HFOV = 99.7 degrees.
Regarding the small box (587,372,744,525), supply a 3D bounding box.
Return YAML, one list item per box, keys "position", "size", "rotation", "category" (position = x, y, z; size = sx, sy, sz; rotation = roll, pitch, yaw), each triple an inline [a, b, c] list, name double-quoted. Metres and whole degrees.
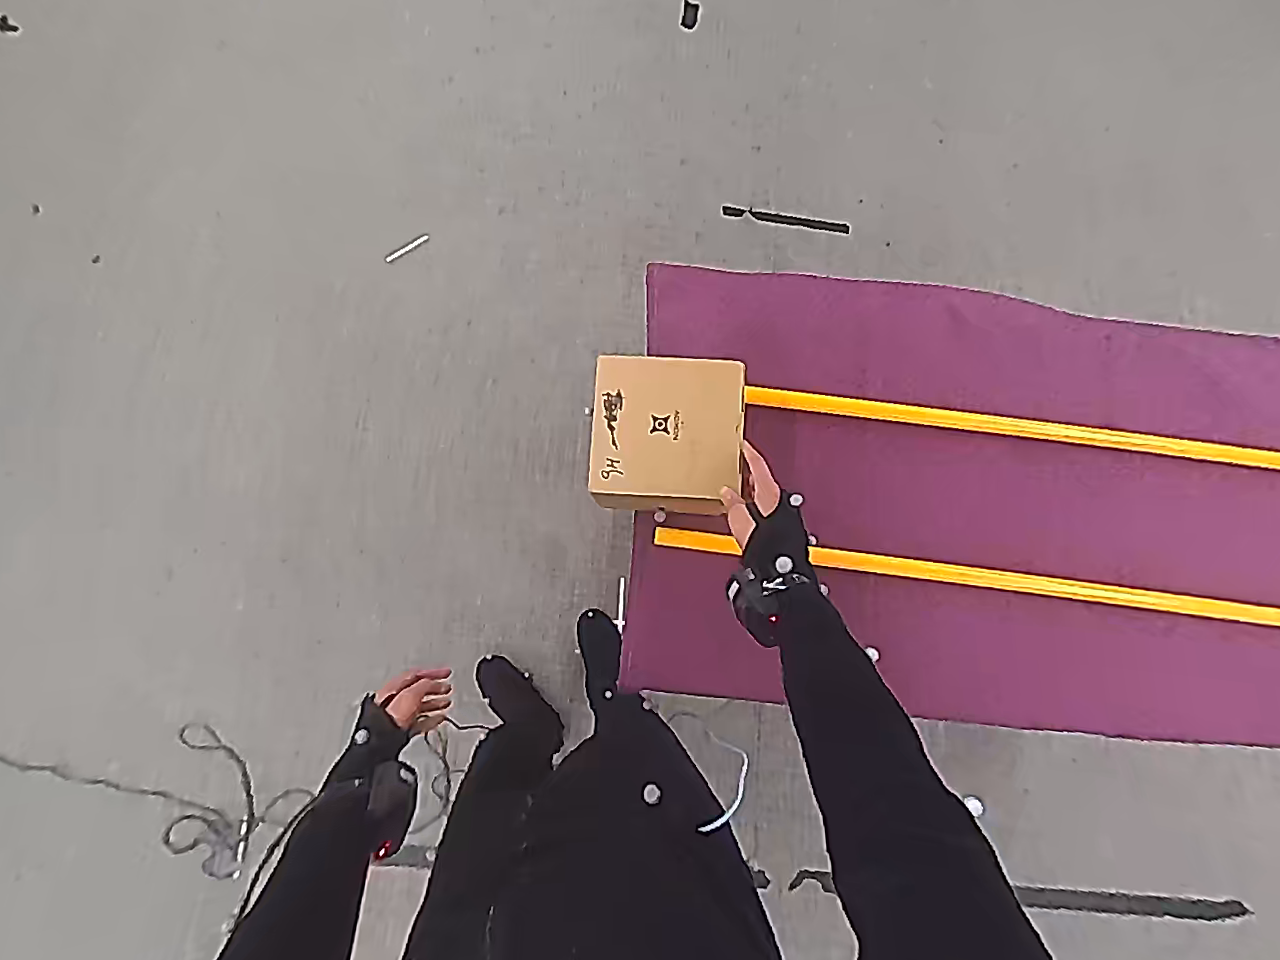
- position: [0.030, -0.031, 0.708]
  size: [0.179, 0.176, 0.168]
  rotation: [4, 81, 1]
  category: "small box"
